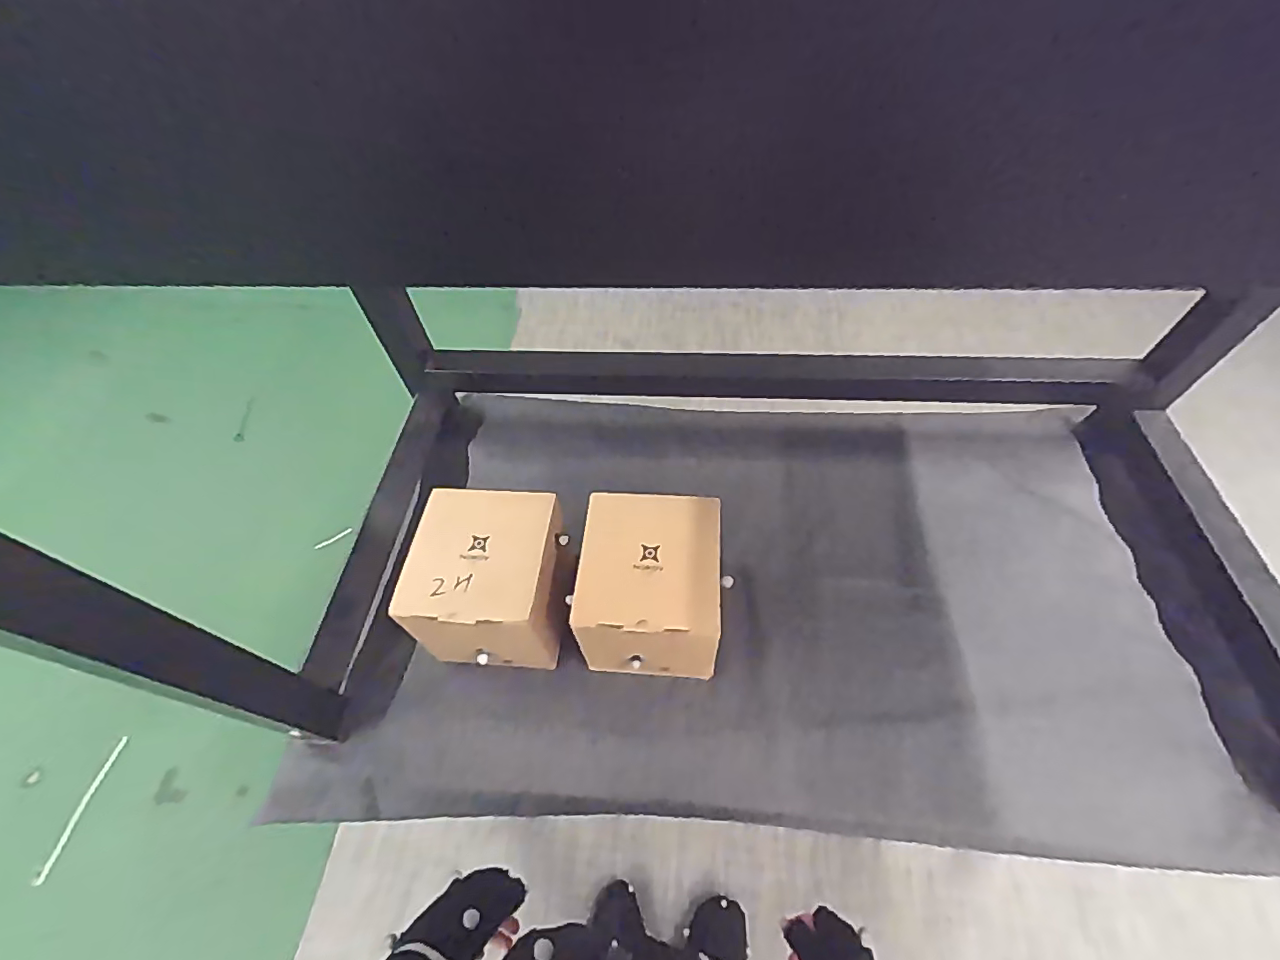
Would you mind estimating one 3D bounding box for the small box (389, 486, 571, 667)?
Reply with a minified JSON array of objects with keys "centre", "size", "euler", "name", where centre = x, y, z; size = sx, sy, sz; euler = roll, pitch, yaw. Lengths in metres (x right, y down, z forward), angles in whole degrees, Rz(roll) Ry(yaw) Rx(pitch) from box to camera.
[{"centre":[-0.192,0.129,0.713],"size":[0.168,0.176,0.179],"euler":[2,54,6],"name":"small box"}]
